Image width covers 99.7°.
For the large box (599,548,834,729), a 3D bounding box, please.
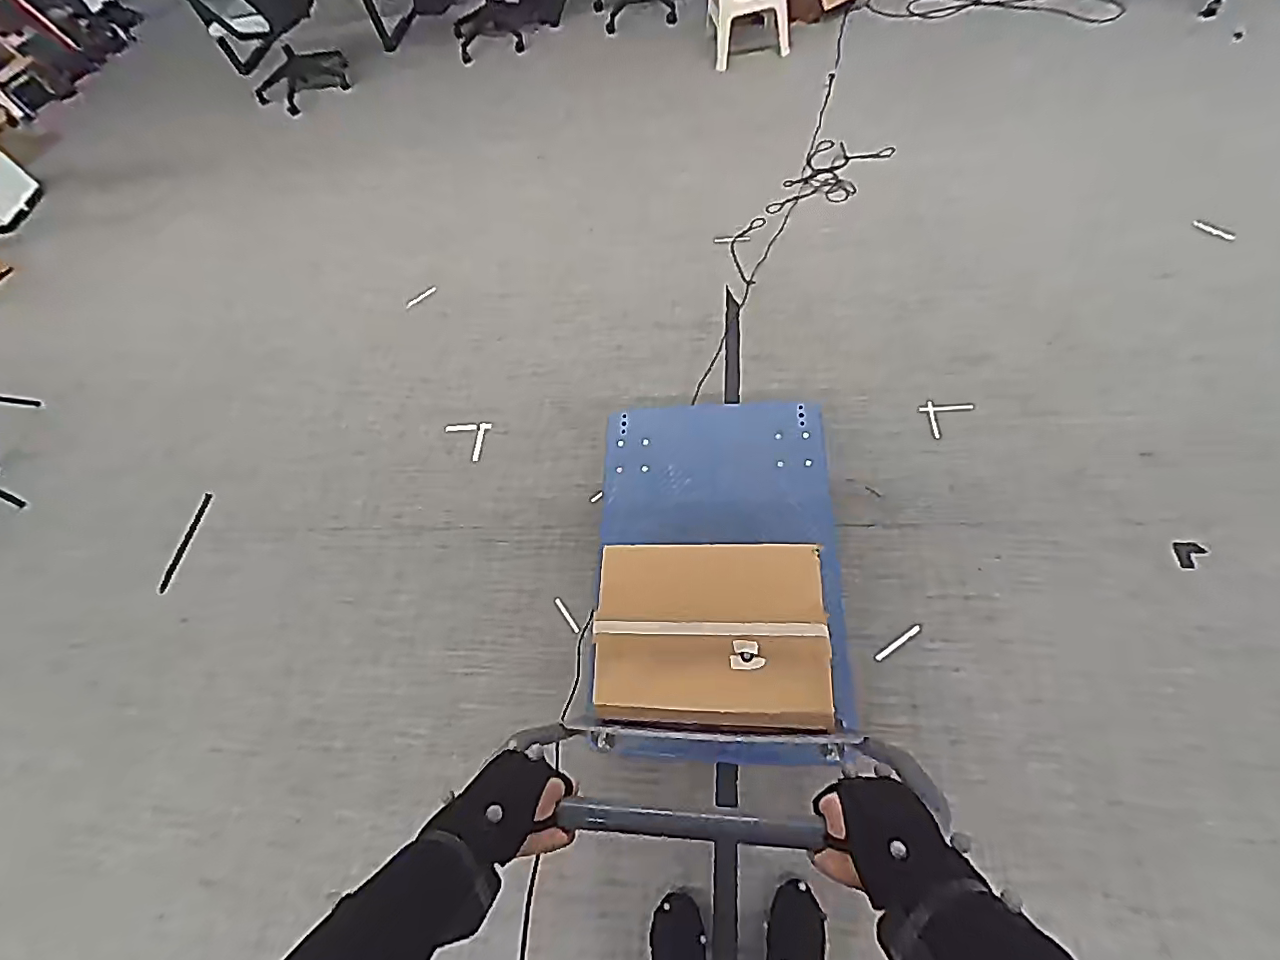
[{"bbox_3d":[0.146,0.337,1.106,0.408,0.320,0.320,-2,66,8],"label":"large box"}]
